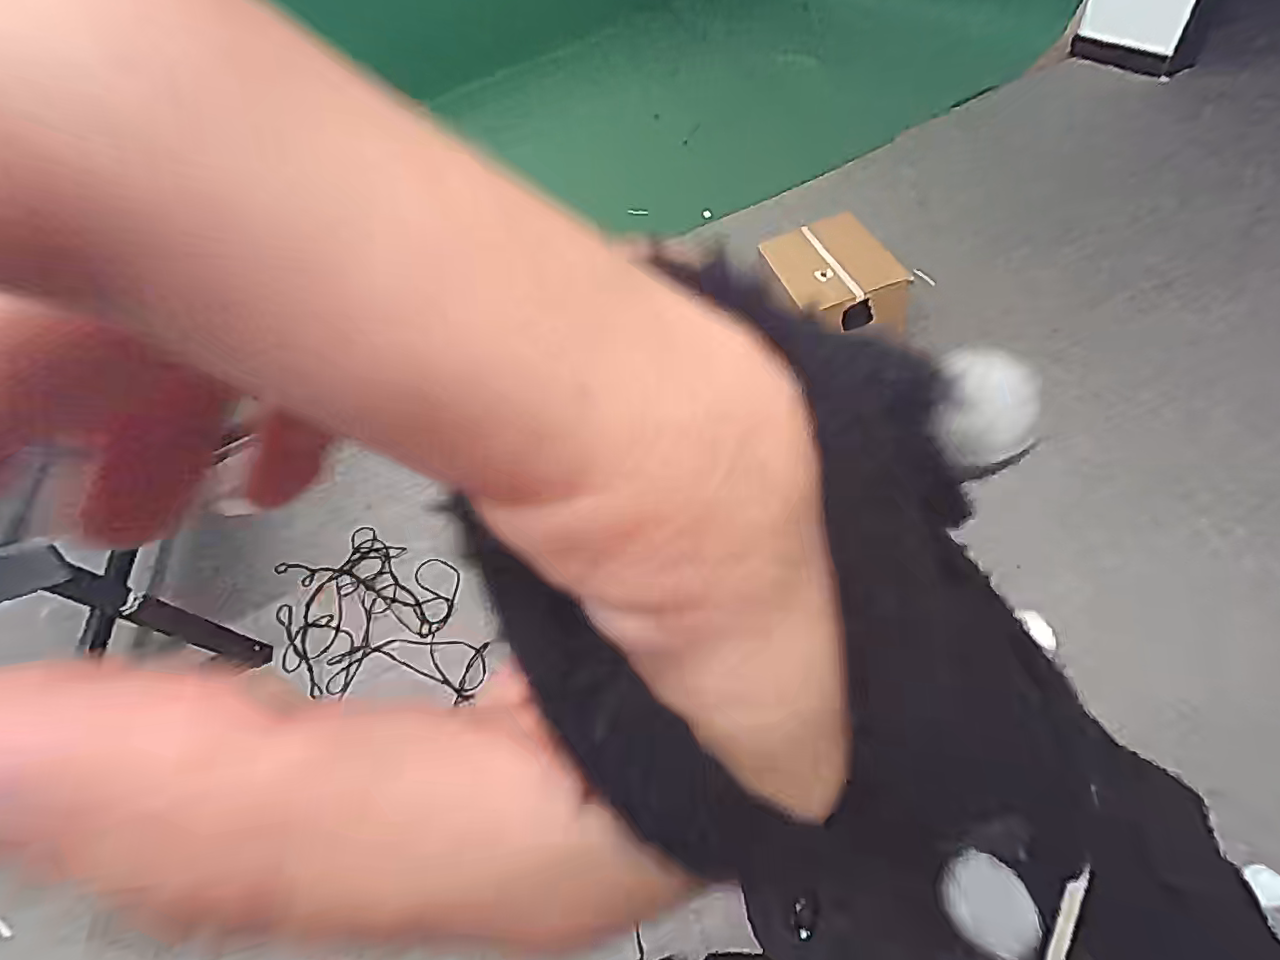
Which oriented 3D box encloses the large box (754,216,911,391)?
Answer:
[{"bbox_3d":[0.588,-0.561,1.727,0.320,0.320,0.408,-19,53,4],"label":"large box"}]
